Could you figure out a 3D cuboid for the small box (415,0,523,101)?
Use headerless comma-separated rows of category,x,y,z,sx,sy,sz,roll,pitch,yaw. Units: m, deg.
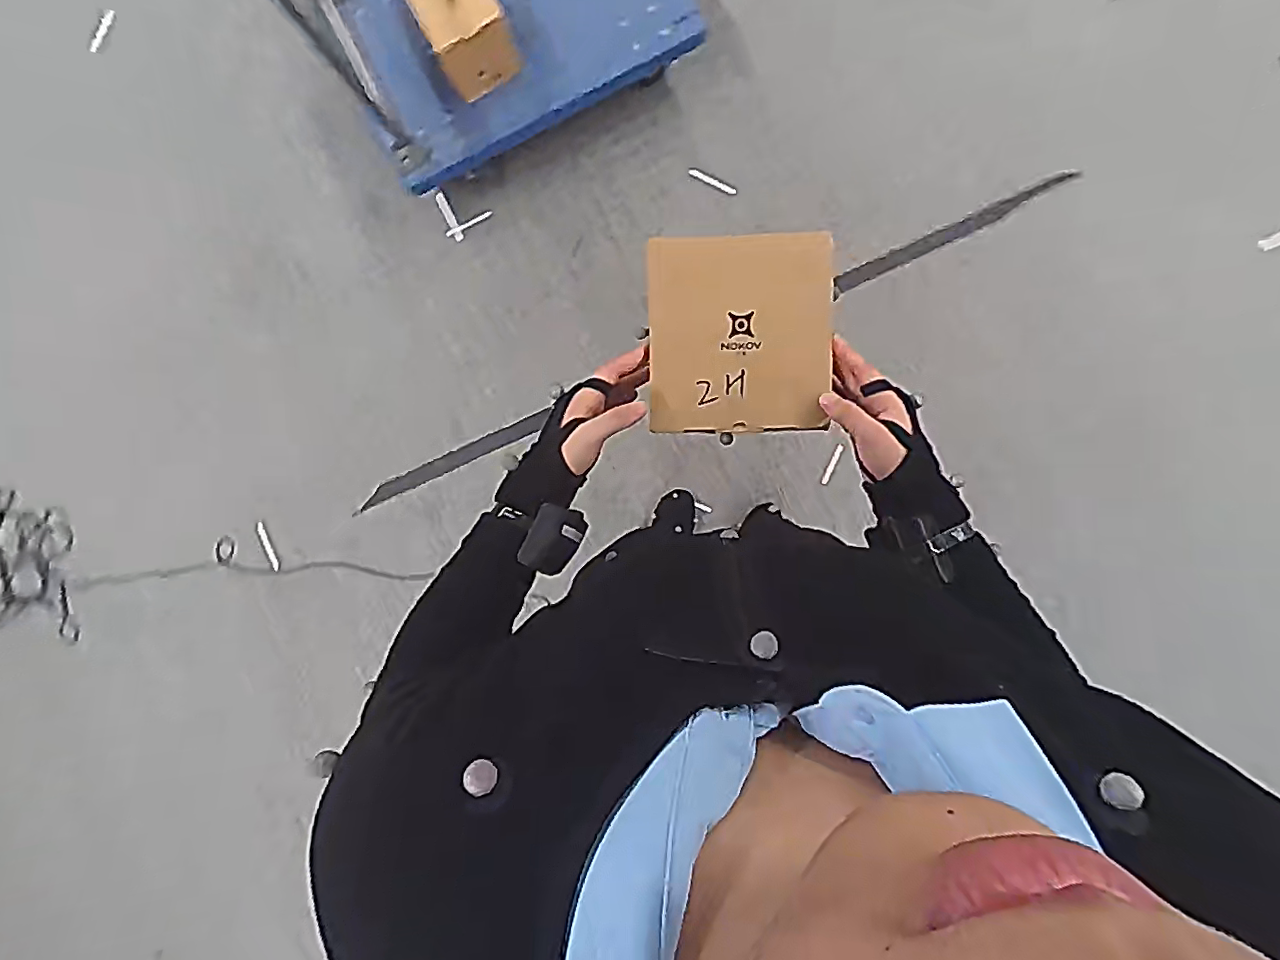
small box,-0.404,-1.063,1.285,0.168,0.176,0.179,-30,88,1

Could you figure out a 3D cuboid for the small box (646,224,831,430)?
small box,0.090,-0.142,0.560,0.168,0.176,0.179,-2,96,4
